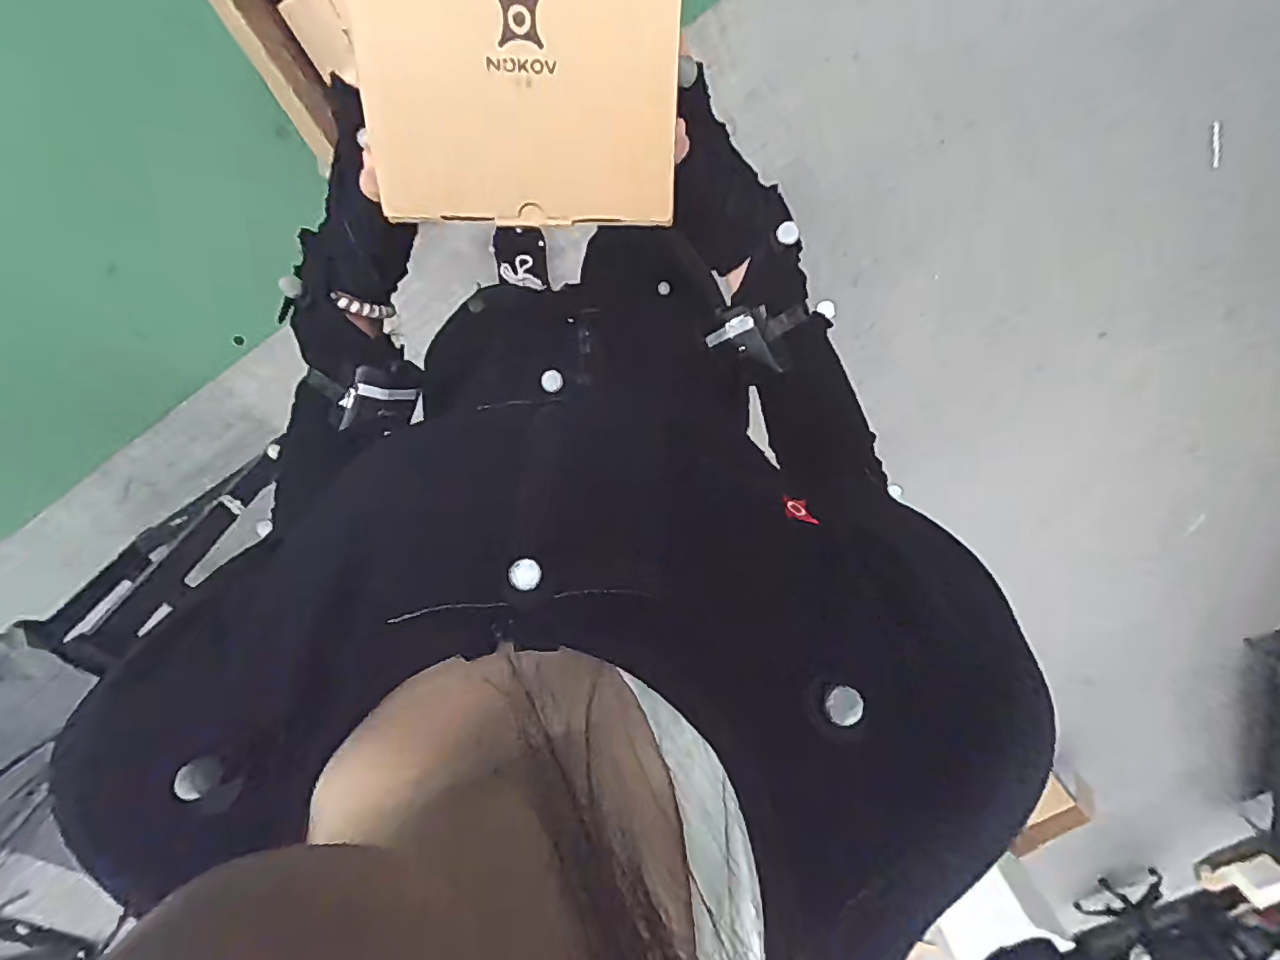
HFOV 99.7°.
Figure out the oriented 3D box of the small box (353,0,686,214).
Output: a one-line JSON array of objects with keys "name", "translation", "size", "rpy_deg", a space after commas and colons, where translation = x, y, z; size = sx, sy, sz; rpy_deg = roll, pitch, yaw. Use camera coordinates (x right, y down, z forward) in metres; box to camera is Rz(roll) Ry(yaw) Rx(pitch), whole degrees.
[{"name": "small box", "translation": [-0.069, -0.269, 0.338], "size": [0.168, 0.176, 0.179], "rpy_deg": [-3, 120, -7]}]
